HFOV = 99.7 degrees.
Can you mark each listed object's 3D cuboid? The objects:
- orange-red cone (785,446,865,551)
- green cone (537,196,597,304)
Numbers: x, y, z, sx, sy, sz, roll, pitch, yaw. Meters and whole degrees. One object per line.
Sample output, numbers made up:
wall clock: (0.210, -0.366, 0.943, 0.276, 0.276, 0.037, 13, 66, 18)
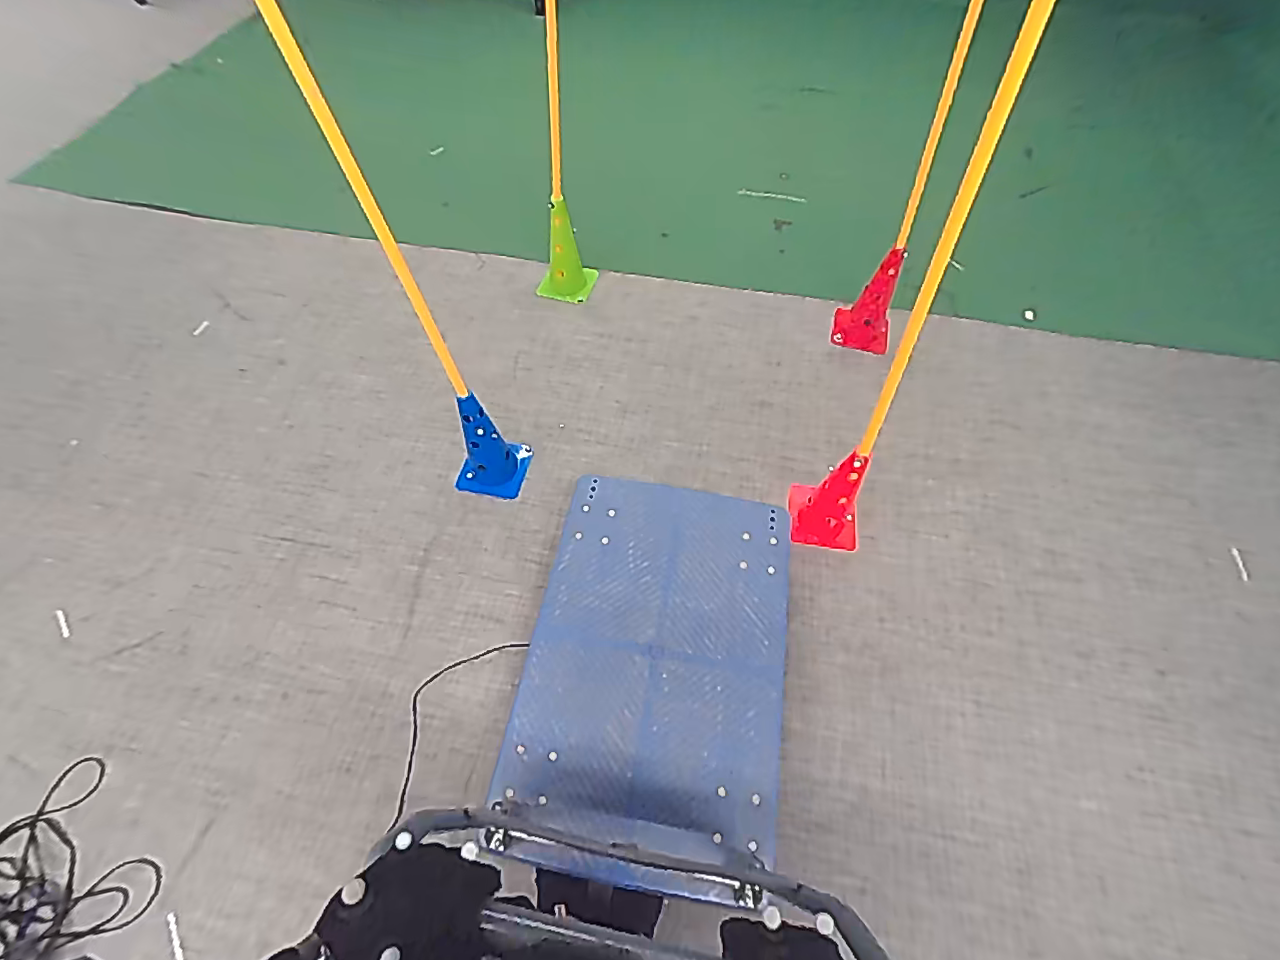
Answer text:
orange-red cone: (0.535, 0.025, 1.478, 0.199, 0.360, 0.198, 8, 59, 6)
green cone: (-0.289, -0.865, 1.996, 0.202, 0.368, 0.200, 13, 59, 8)
